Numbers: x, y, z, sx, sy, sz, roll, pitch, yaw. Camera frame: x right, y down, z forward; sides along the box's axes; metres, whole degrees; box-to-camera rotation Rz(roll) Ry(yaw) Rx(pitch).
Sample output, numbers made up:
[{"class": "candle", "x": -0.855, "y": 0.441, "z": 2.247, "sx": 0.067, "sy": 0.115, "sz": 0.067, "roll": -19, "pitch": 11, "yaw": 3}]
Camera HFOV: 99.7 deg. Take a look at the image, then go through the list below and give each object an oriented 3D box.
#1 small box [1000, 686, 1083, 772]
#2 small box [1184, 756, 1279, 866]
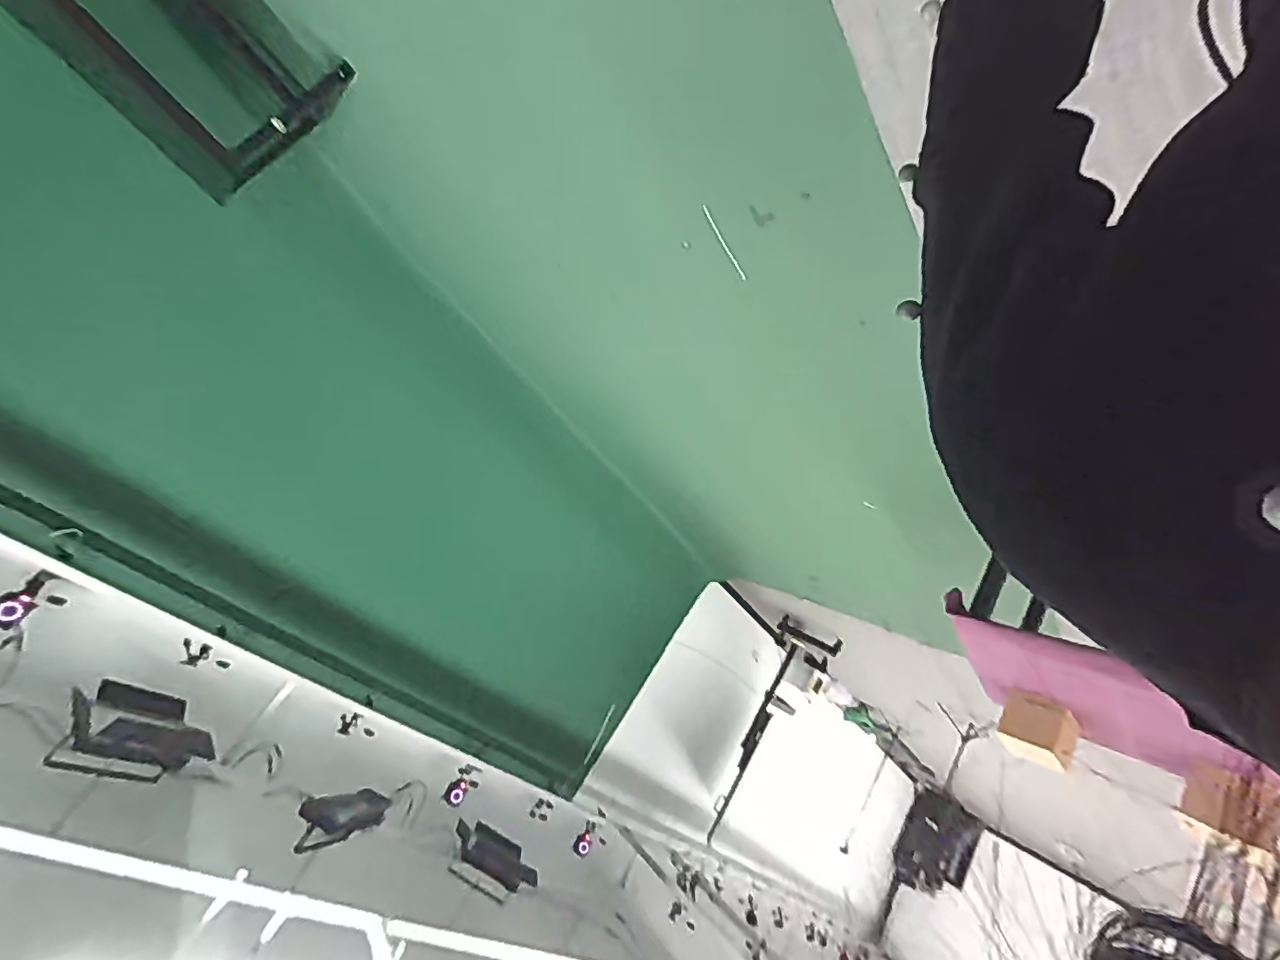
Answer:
[{"class": "small box", "x": 1.328, "y": 0.816, "z": 1.782, "sx": 0.179, "sy": 0.176, "sz": 0.168, "roll": 47, "pitch": 157, "yaw": -28}, {"class": "small box", "x": 1.604, "y": 0.882, "z": 1.454, "sx": 0.179, "sy": 0.176, "sz": 0.168, "roll": 10, "pitch": 147, "yaw": 51}]
